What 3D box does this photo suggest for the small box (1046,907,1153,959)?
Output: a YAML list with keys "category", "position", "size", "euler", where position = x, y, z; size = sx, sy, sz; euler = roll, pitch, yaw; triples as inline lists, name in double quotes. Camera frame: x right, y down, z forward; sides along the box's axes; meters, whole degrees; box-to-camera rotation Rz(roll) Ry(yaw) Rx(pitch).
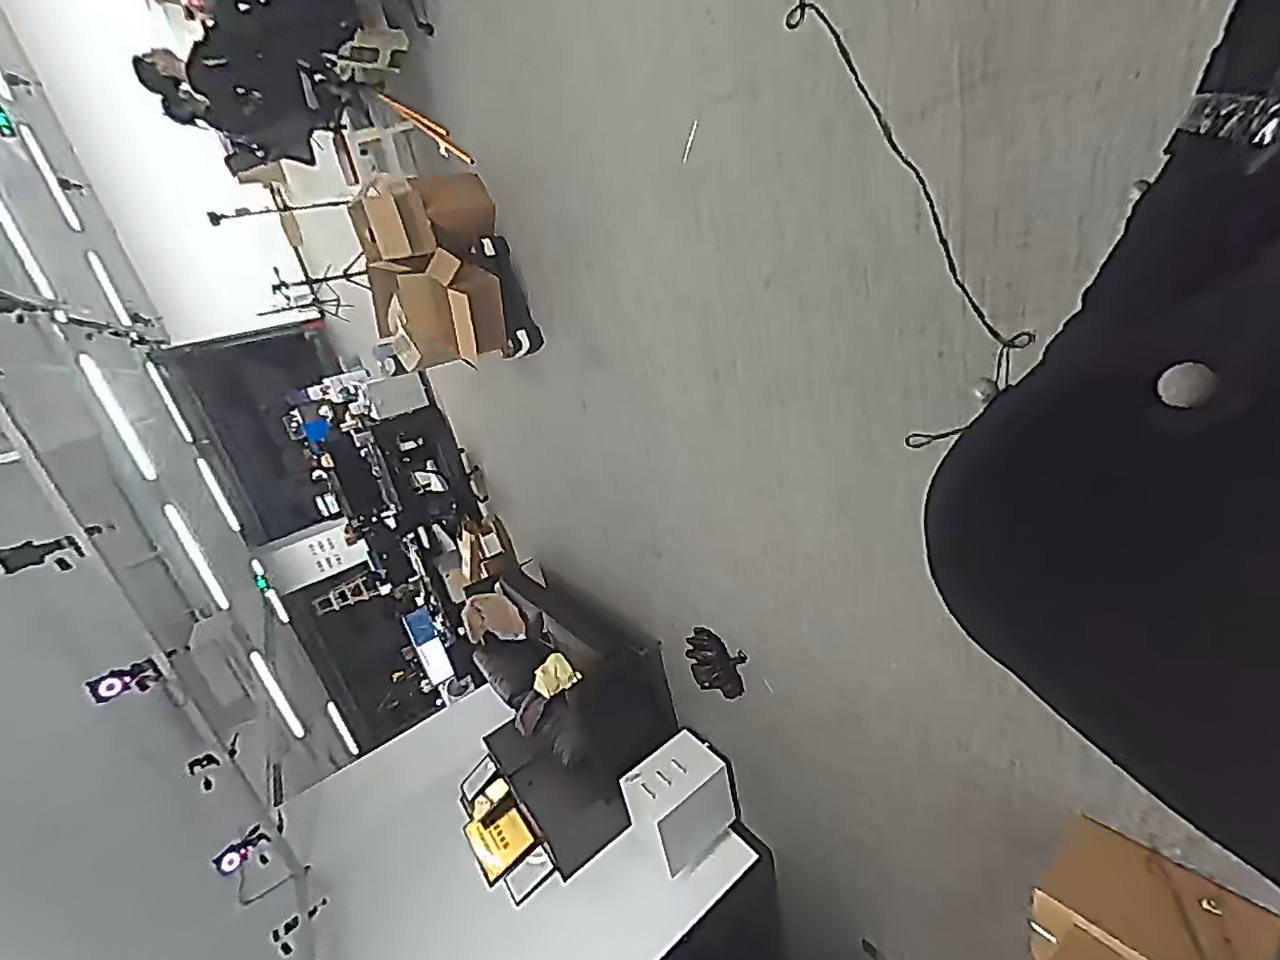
- category: "small box"
  position: [1.143, 1.231, 1.344]
  size: [0.179, 0.176, 0.168]
  euler: [18, 126, 55]
